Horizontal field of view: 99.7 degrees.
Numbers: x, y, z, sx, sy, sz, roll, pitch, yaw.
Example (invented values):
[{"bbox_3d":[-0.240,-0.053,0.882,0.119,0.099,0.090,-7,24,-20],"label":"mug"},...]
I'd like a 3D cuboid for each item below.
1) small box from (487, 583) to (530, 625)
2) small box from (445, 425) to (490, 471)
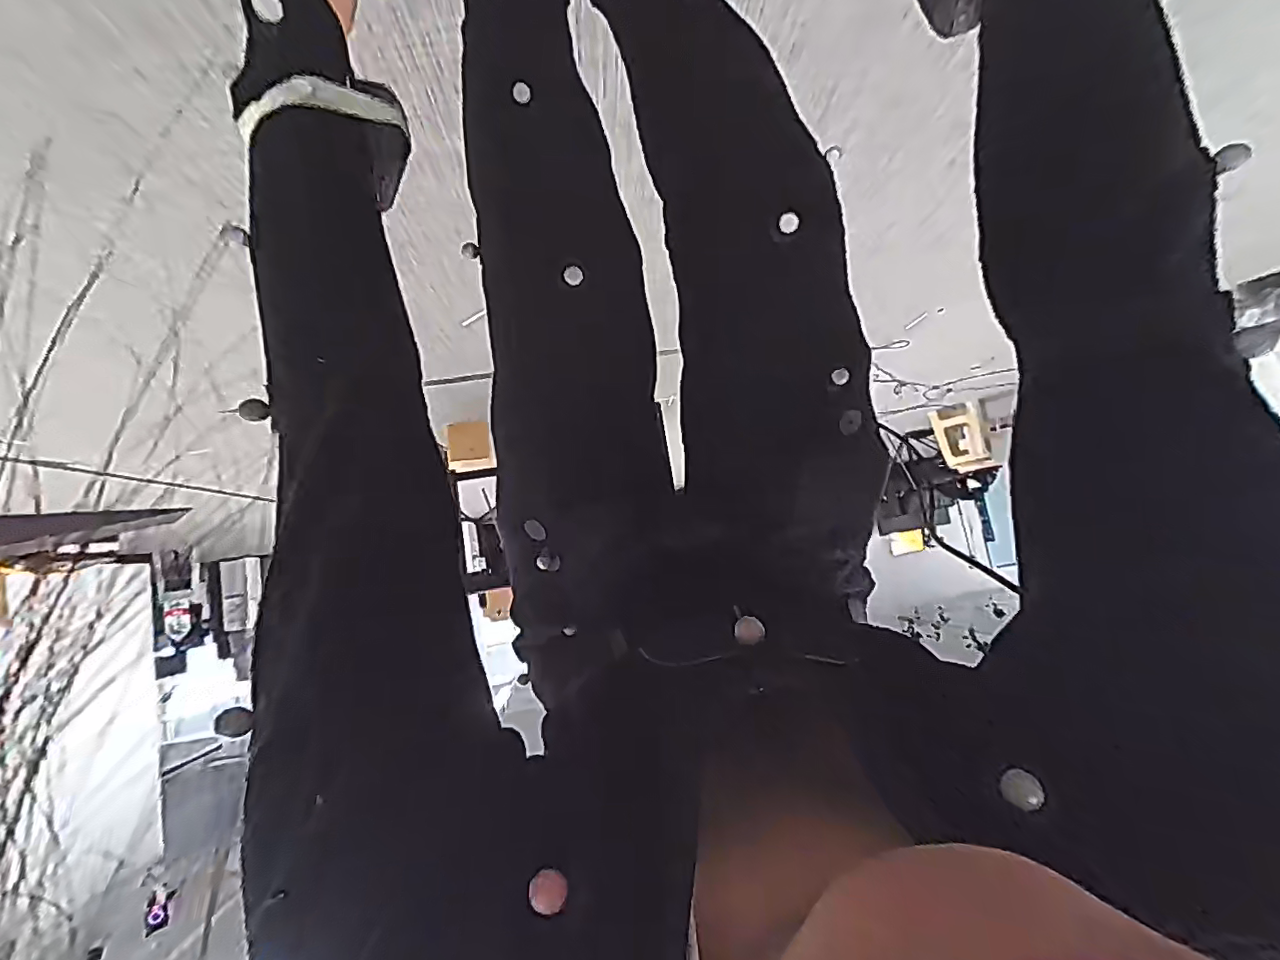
[{"bbox_3d":[-0.640,0.596,2.623,0.179,0.176,0.168,-9,173,-7],"label":"small box"},{"bbox_3d":[-0.791,-0.147,2.466,0.179,0.176,0.168,-8,172,-22],"label":"small box"}]
